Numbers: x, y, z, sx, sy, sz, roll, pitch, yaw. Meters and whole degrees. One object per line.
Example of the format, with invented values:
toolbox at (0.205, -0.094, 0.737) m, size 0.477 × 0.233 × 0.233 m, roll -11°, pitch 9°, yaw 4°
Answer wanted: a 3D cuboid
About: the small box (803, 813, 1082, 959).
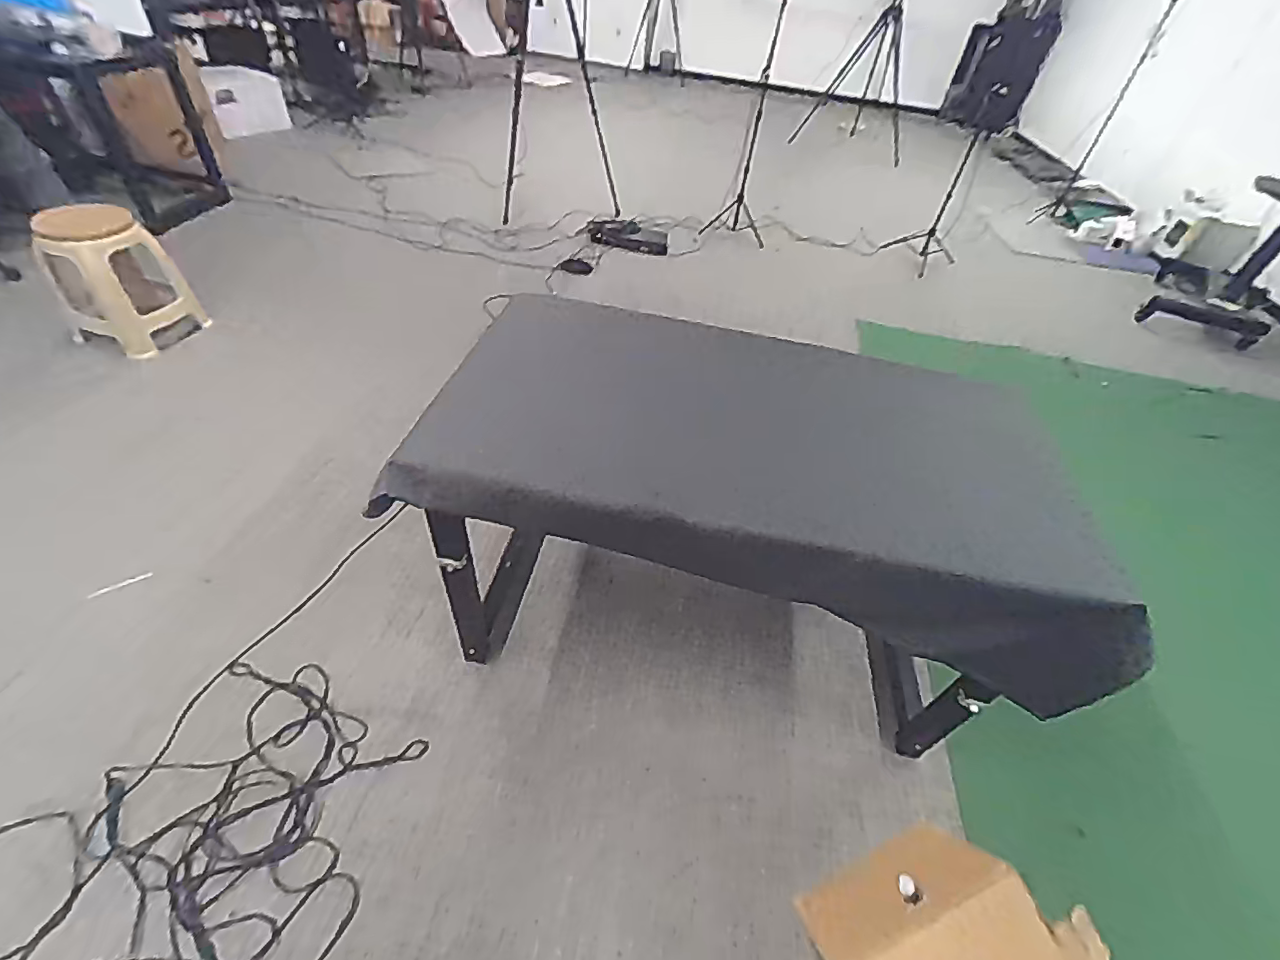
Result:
small box at (0.266, 0.435, 0.481) m, size 0.179 × 0.176 × 0.168 m, roll -26°, pitch 70°, yaw -8°
